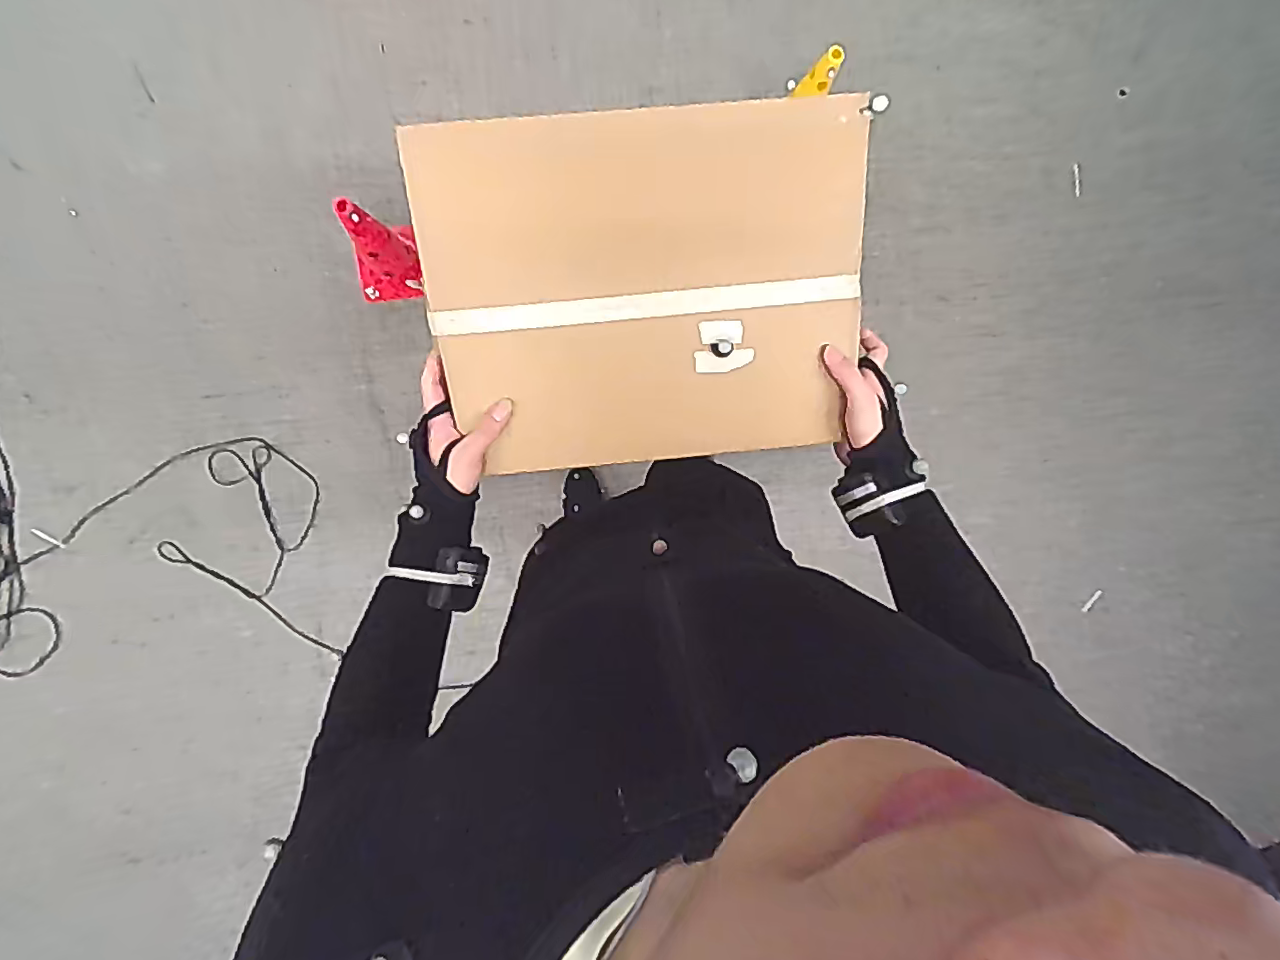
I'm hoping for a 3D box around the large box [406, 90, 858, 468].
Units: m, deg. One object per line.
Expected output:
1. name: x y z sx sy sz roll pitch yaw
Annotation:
1. large box: -0.003 -0.227 0.657 0.408 0.320 0.320 -6 111 -3
